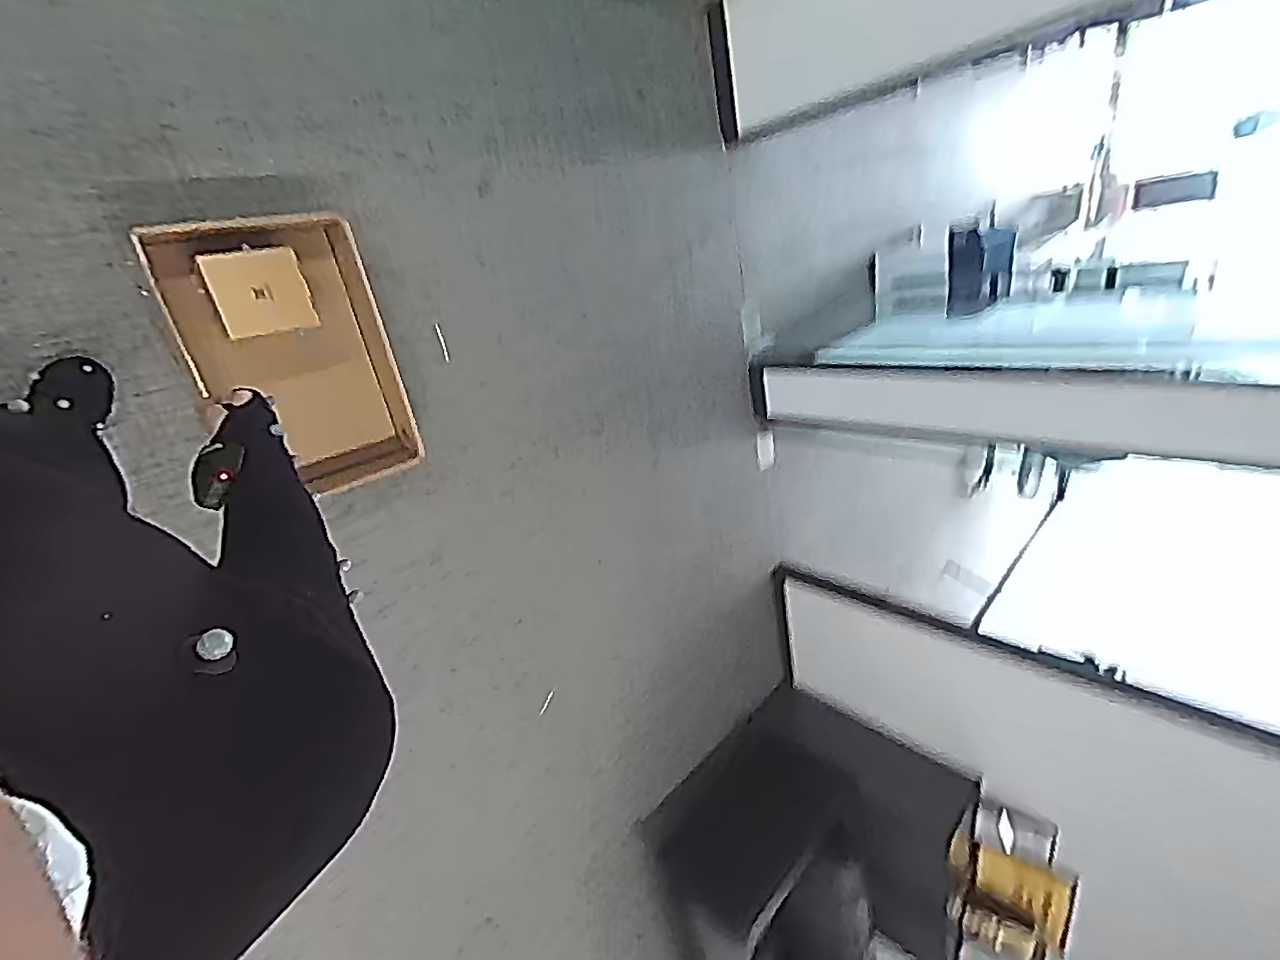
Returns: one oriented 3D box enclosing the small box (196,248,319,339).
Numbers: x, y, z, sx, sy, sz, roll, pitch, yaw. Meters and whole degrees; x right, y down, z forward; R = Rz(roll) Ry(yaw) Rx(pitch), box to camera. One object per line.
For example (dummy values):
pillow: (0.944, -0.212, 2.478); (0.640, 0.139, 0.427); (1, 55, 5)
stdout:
small box: (-0.852, -0.411, 1.201); (0.179, 0.176, 0.168); (-26, 117, -36)
